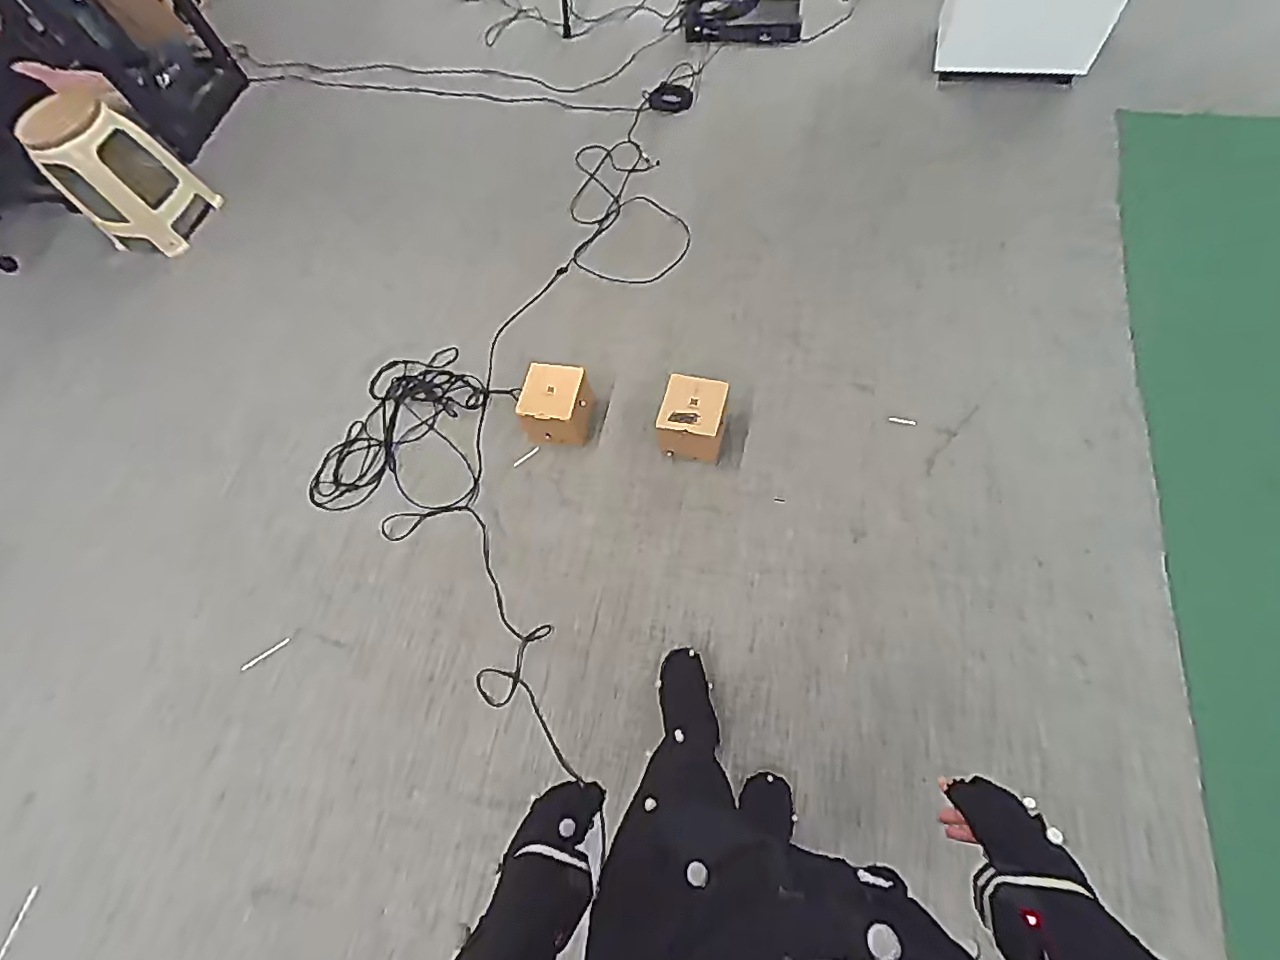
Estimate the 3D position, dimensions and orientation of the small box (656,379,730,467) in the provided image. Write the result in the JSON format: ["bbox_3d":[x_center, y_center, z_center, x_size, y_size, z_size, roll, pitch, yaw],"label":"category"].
[{"bbox_3d":[0.155,-0.155,1.525,0.168,0.176,0.179,12,68,14],"label":"small box"}]

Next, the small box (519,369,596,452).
[{"bbox_3d":[-0.236,-0.205,1.605,0.168,0.176,0.179,8,68,12],"label":"small box"}]
